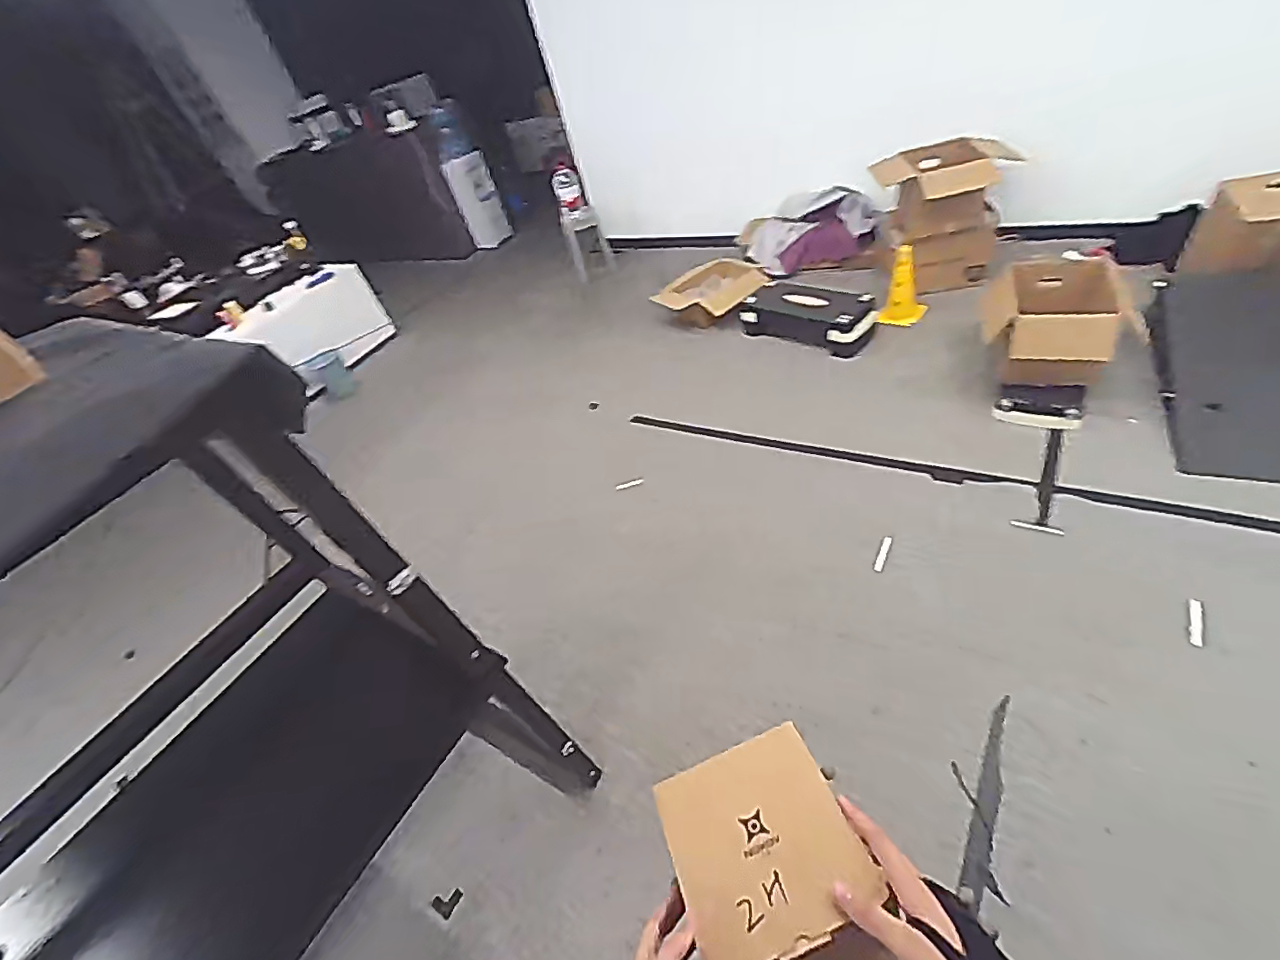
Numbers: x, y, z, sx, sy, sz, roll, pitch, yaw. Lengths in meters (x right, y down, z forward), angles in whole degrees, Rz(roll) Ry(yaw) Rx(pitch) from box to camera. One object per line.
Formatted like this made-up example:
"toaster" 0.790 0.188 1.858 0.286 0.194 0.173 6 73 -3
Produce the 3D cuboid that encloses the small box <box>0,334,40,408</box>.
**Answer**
"small box" -0.911 -0.155 0.665 0.179 0.176 0.168 21 56 34

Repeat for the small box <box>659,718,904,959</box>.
"small box" 0.138 0.389 0.546 0.168 0.176 0.179 -25 33 -1
